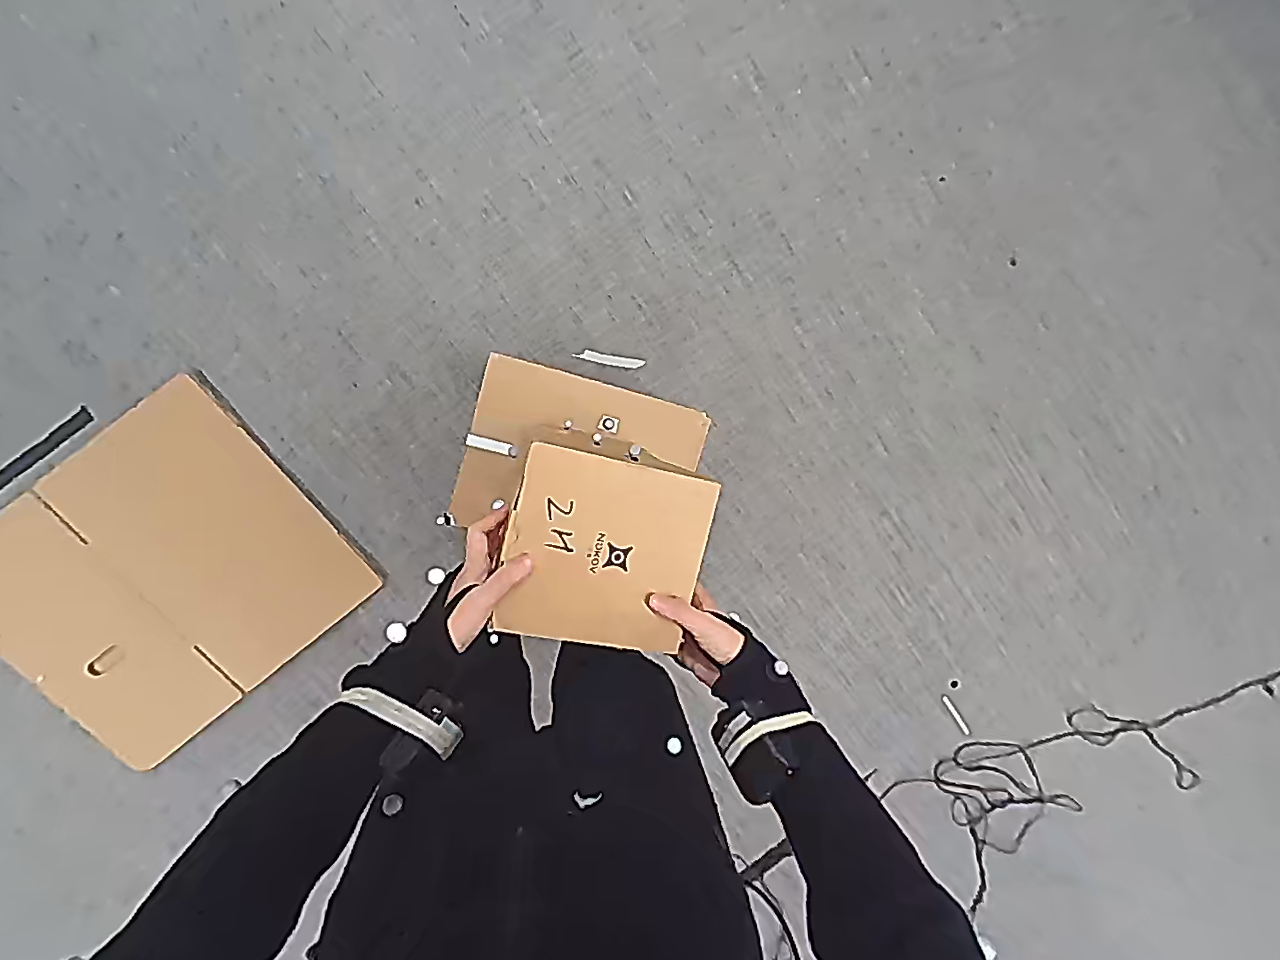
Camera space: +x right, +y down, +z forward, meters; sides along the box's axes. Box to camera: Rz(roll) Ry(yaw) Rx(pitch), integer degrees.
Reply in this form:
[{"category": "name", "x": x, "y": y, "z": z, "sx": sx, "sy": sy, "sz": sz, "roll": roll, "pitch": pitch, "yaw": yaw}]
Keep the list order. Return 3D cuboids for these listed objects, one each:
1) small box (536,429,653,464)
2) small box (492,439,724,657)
[{"category": "small box", "x": -0.092, "y": 0.014, "z": 0.884, "sx": 0.179, "sy": 0.176, "sz": 0.168, "roll": 12, "pitch": 96, "yaw": -10}, {"category": "small box", "x": -0.044, "y": 0.057, "z": 0.546, "sx": 0.179, "sy": 0.176, "sz": 0.168, "roll": 13, "pitch": 94, "yaw": -16}]
